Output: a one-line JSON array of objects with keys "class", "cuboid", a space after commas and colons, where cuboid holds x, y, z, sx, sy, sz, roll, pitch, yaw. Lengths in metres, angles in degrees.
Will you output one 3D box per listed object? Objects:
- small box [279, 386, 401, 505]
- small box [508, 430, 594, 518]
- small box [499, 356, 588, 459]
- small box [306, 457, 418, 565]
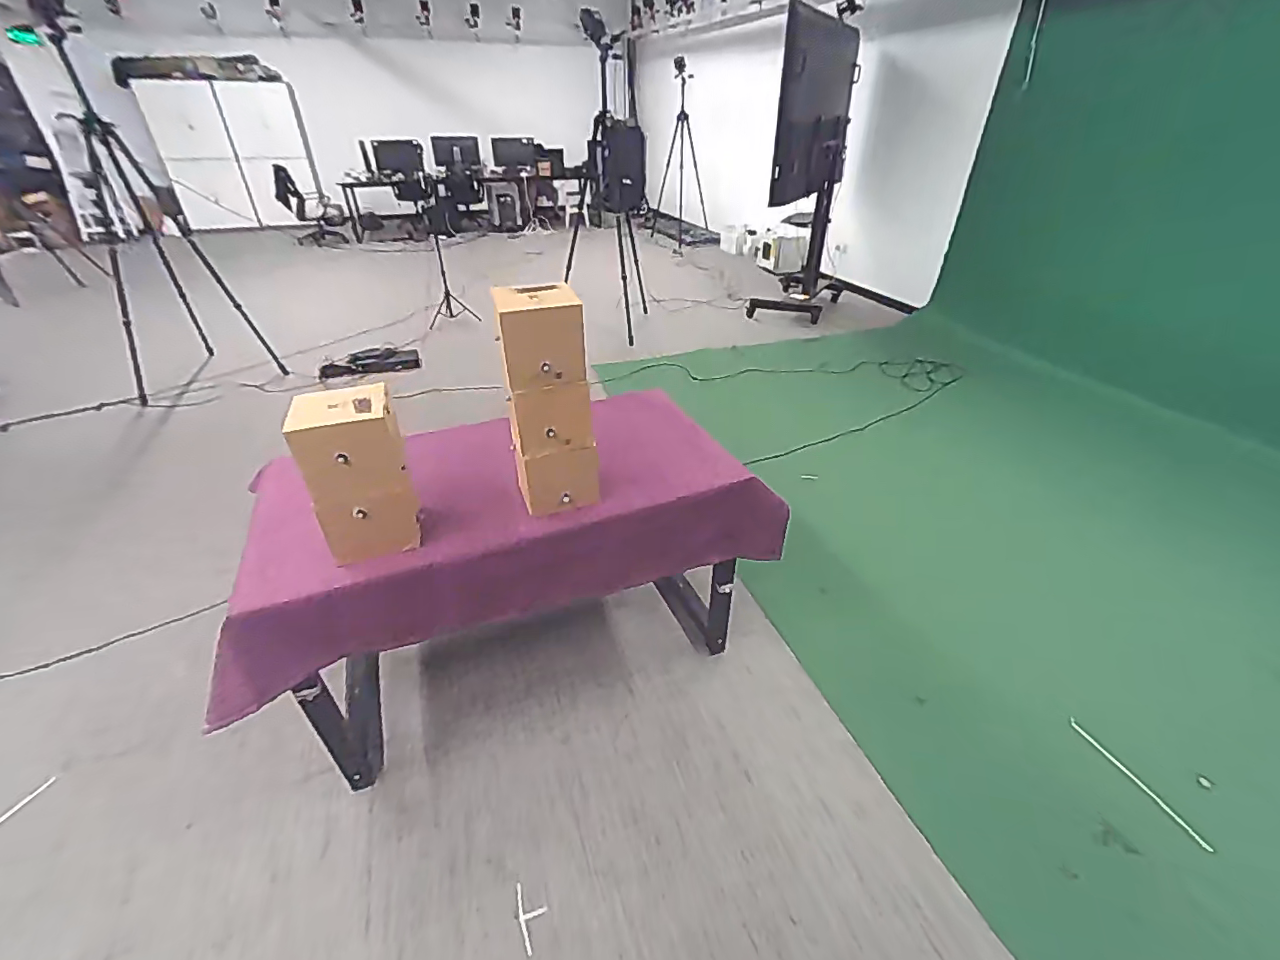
[{"class": "small box", "cuboid": [-0.599, -0.071, 1.106, 0.179, 0.176, 0.168, -13, 37, -16]}, {"class": "small box", "cuboid": [-0.218, -0.029, 1.334, 0.179, 0.176, 0.168, -12, 35, -18]}, {"class": "small box", "cuboid": [-0.224, -0.170, 1.250, 0.168, 0.176, 0.179, -12, 37, -17]}, {"class": "small box", "cuboid": [-0.603, 0.066, 1.195, 0.179, 0.176, 0.168, -11, 36, -17]}]
